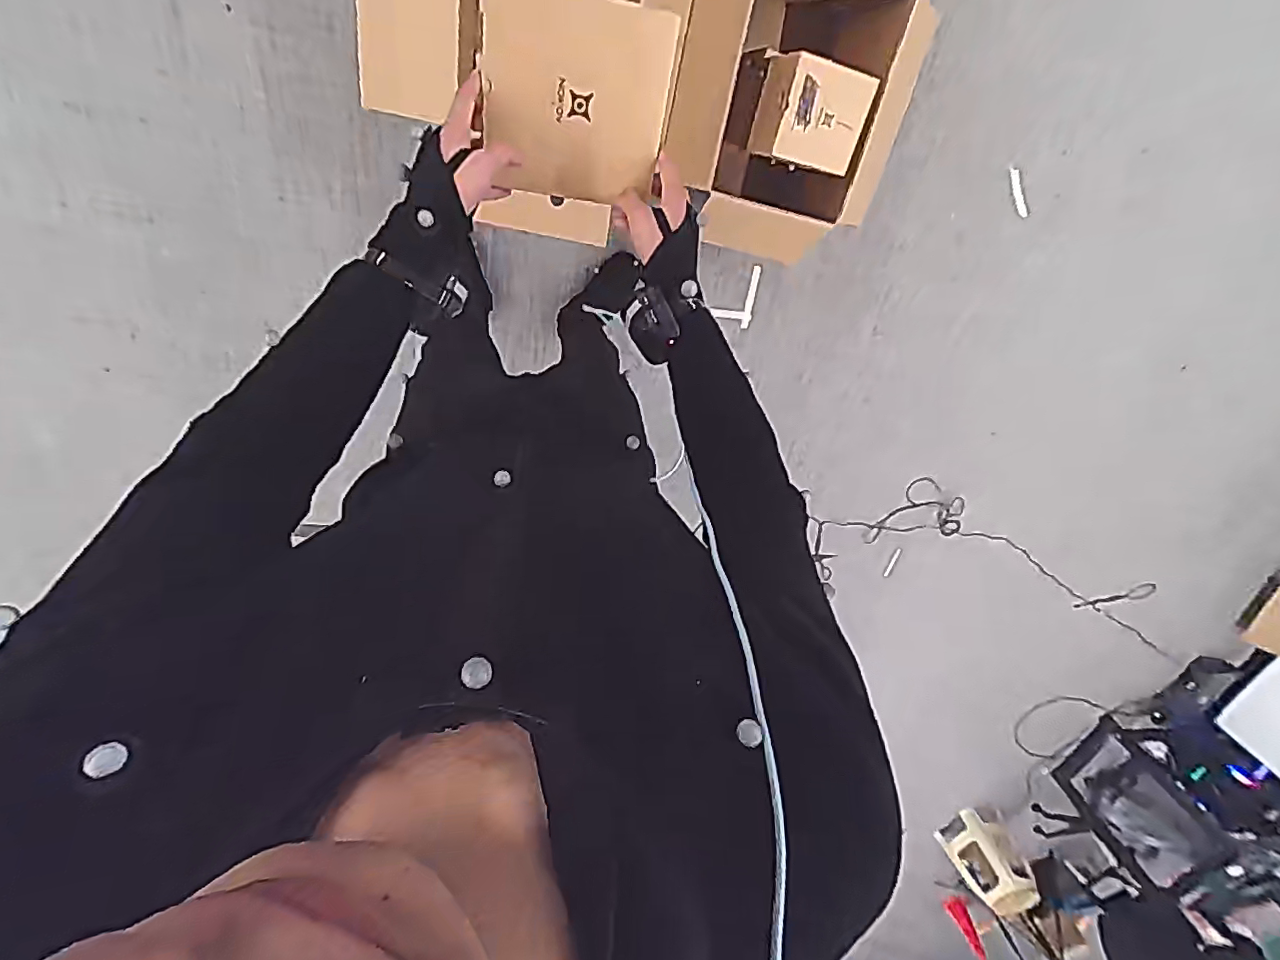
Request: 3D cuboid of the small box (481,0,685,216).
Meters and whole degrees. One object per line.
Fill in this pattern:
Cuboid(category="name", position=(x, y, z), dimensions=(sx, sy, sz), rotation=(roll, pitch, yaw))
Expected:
Cuboid(category="small box", position=(-0.069, -0.399, 0.565), dimensions=(0.179, 0.176, 0.168), rotation=(4, 130, -12))
